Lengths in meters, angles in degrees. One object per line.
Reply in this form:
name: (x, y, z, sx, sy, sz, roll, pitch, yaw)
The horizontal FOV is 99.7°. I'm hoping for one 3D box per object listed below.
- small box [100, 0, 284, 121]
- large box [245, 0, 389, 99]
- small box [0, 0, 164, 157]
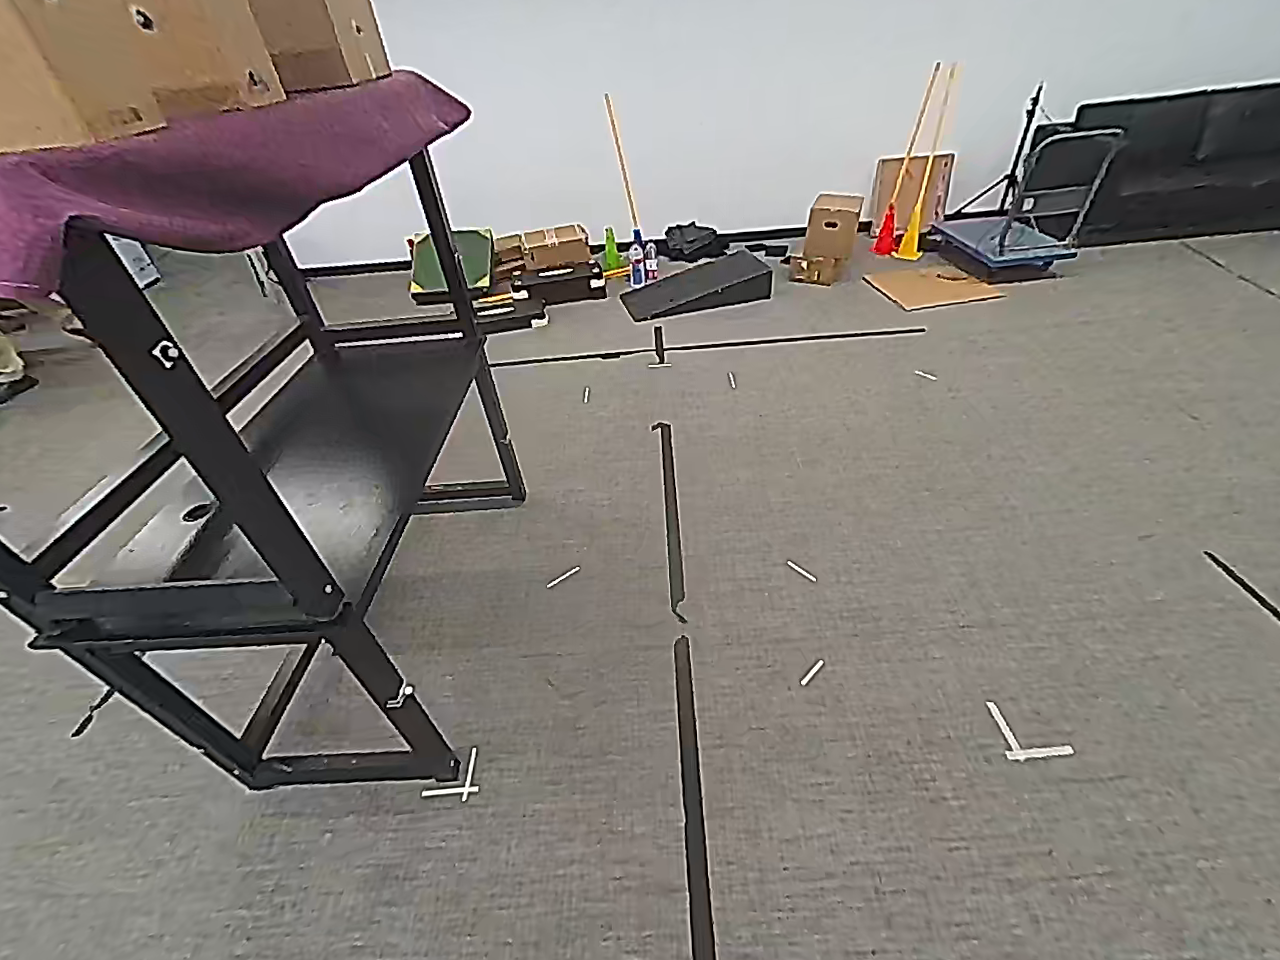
small box: (-0.753, -0.717, 0.908, 0.179, 0.176, 0.168, -6, 41, 0)
large box: (-0.832, -1.021, 1.172, 0.408, 0.320, 0.320, -7, 40, 1)
small box: (-0.742, -0.495, 0.642, 0.179, 0.176, 0.168, -10, 40, -3)
